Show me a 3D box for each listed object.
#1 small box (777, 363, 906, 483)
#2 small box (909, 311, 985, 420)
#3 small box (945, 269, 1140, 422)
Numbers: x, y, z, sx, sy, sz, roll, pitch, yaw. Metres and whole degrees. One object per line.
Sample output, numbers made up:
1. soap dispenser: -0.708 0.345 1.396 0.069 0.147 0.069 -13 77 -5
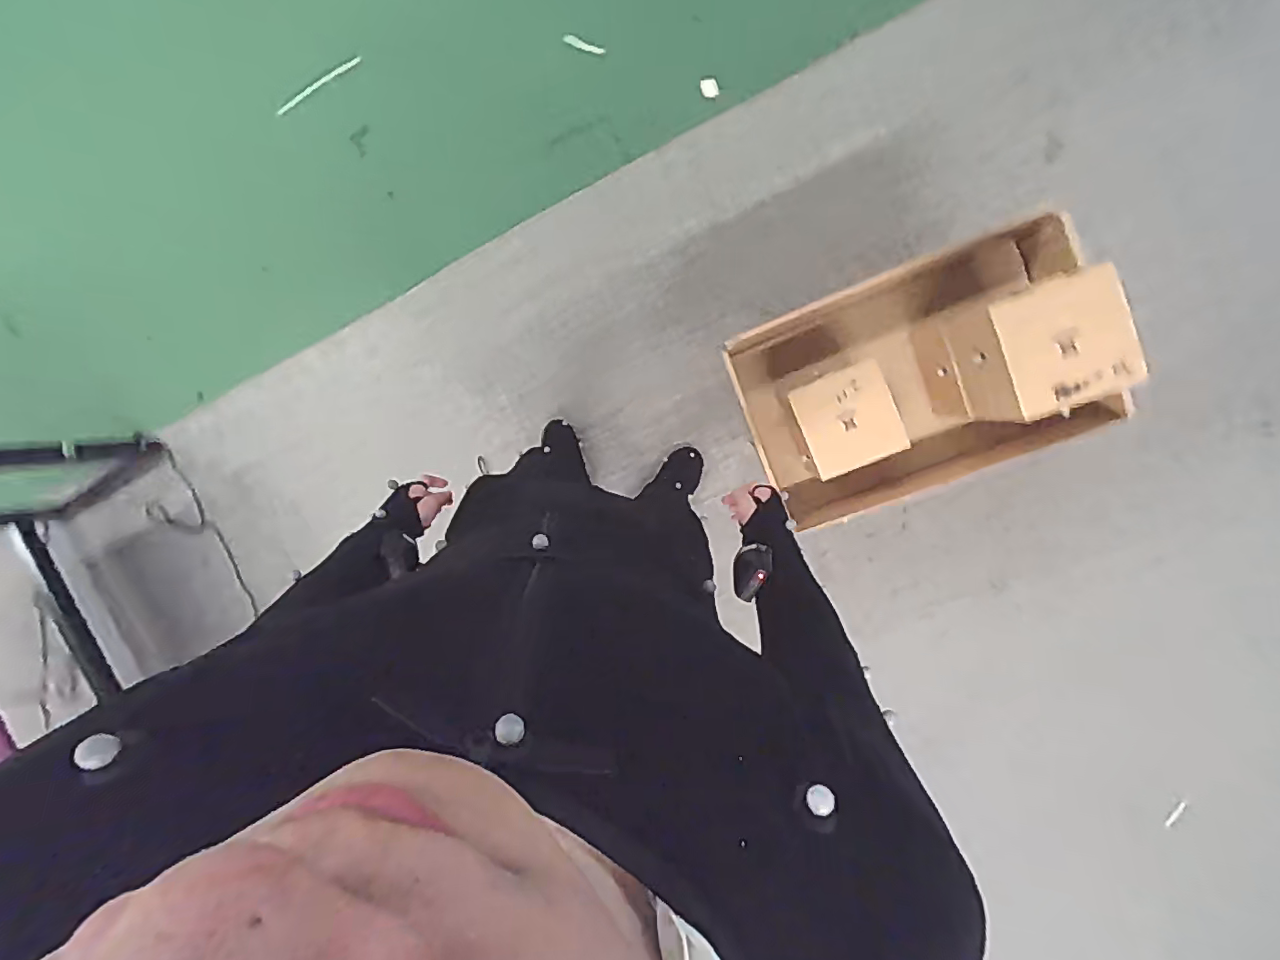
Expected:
1. small box: 0.380 -0.111 1.049 0.168 0.176 0.179 -22 93 8
2. small box: 0.629 -0.218 1.009 0.168 0.176 0.179 -18 95 9
3. small box: 0.612 -0.197 0.848 0.168 0.176 0.179 -19 93 11
